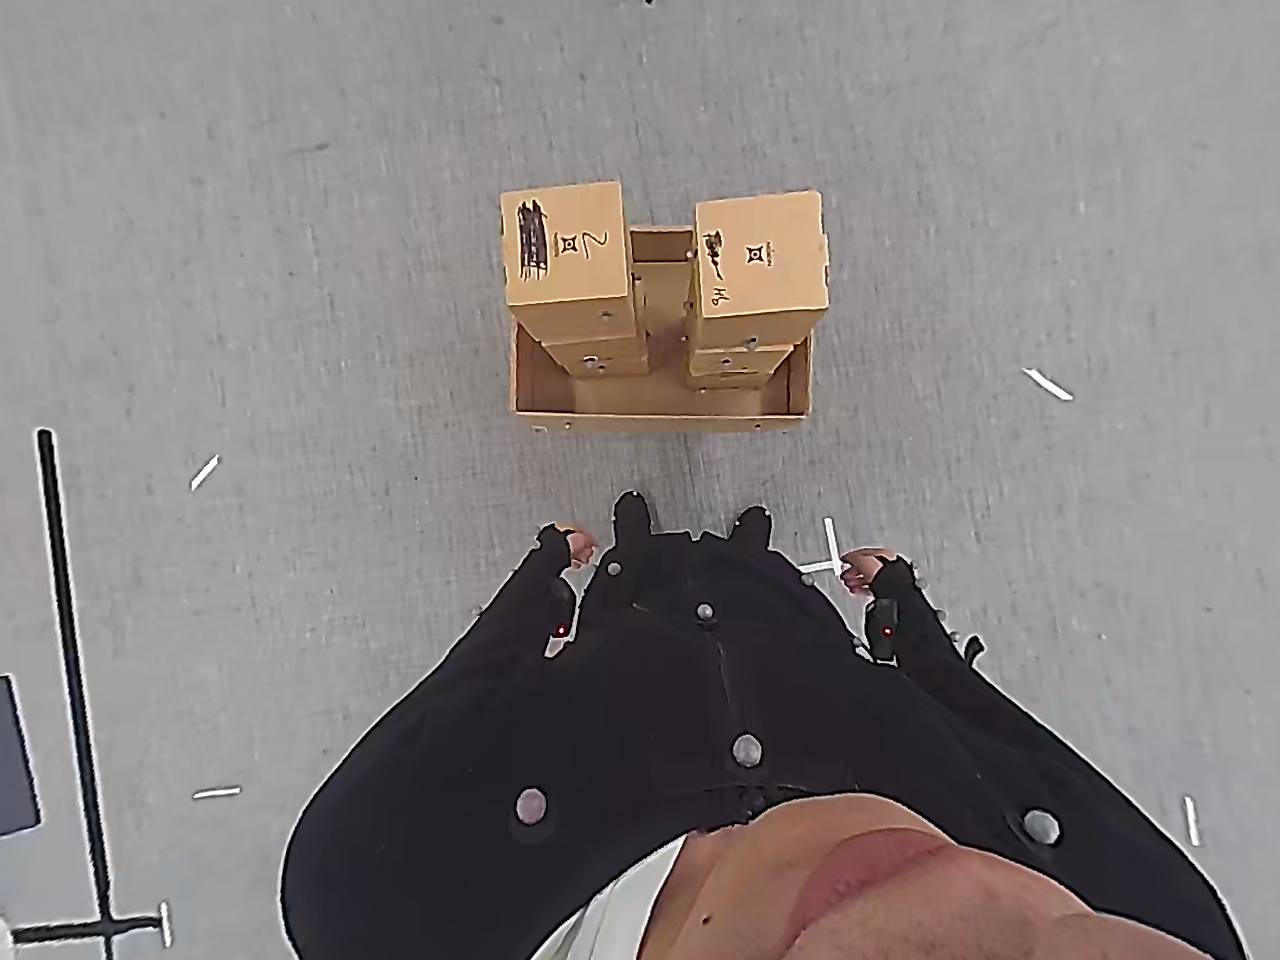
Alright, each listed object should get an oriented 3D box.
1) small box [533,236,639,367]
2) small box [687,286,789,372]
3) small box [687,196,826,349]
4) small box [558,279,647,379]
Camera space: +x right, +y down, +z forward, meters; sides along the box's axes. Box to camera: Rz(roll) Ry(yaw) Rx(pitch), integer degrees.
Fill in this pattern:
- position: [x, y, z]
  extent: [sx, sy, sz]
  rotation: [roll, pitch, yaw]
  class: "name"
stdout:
- position: [-0.093, -0.320, 0.999]
  extent: [0.168, 0.176, 0.179]
  rotation: [-5, 88, 4]
  class: "small box"
- position: [0.173, -0.298, 0.988]
  extent: [0.168, 0.176, 0.179]
  rotation: [-1, 88, 2]
  class: "small box"
- position: [0.167, -0.305, 0.825]
  extent: [0.179, 0.176, 0.168]
  rotation: [-3, 88, 2]
  class: "small box"
- position: [-0.076, -0.316, 1.162]
  extent: [0.179, 0.176, 0.168]
  rotation: [-2, 89, 2]
  class: "small box"
